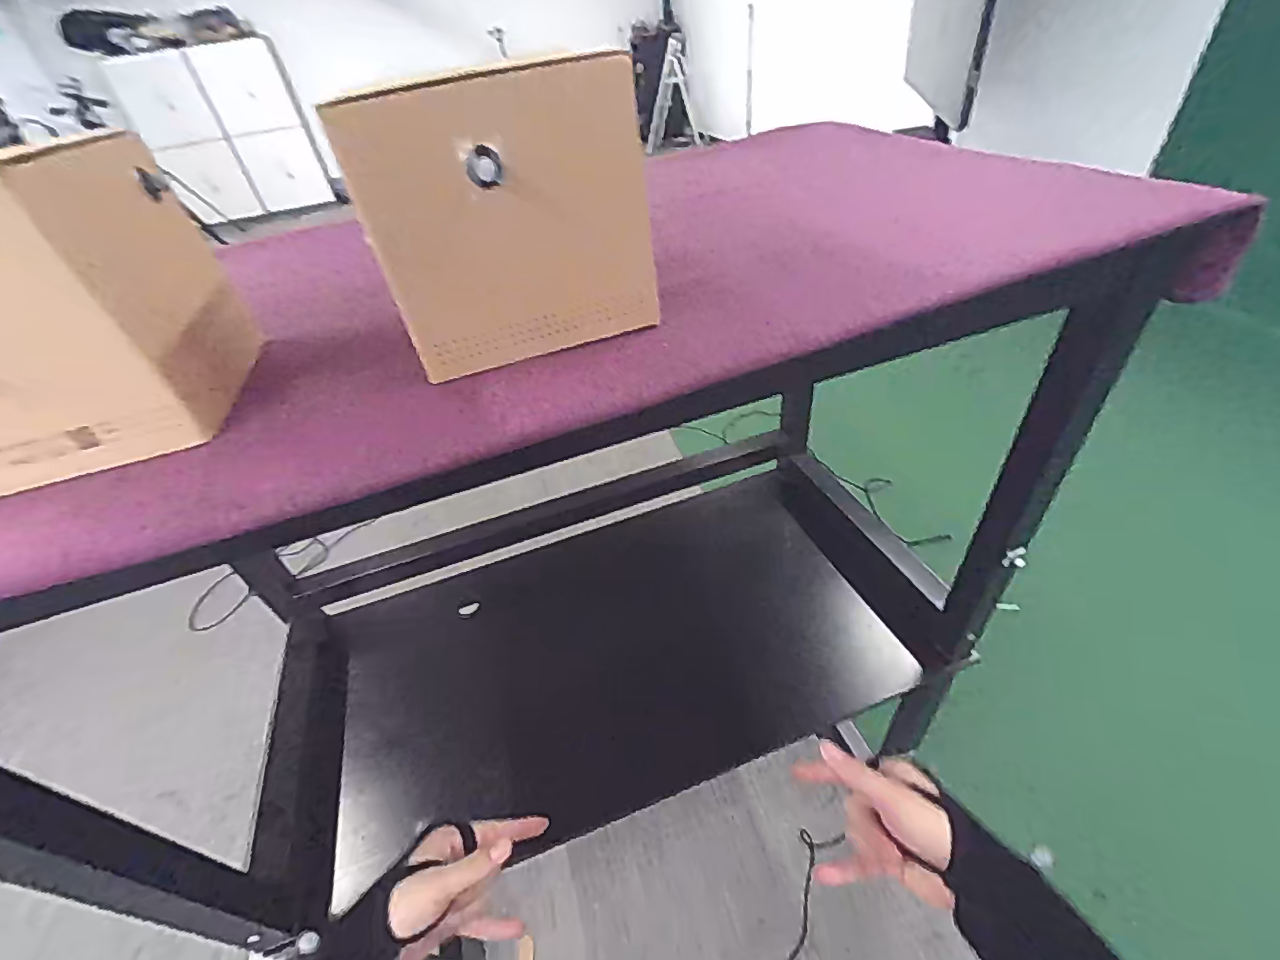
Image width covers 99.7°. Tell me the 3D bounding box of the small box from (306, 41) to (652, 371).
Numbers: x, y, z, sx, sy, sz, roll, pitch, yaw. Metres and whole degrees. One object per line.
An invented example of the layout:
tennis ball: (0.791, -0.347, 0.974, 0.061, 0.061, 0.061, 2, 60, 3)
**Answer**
small box: (-0.104, -0.201, 0.400, 0.179, 0.176, 0.168, -17, 41, -9)

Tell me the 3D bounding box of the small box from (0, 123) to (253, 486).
small box: (-0.395, -0.111, 0.352, 0.168, 0.176, 0.179, -18, 40, -10)
